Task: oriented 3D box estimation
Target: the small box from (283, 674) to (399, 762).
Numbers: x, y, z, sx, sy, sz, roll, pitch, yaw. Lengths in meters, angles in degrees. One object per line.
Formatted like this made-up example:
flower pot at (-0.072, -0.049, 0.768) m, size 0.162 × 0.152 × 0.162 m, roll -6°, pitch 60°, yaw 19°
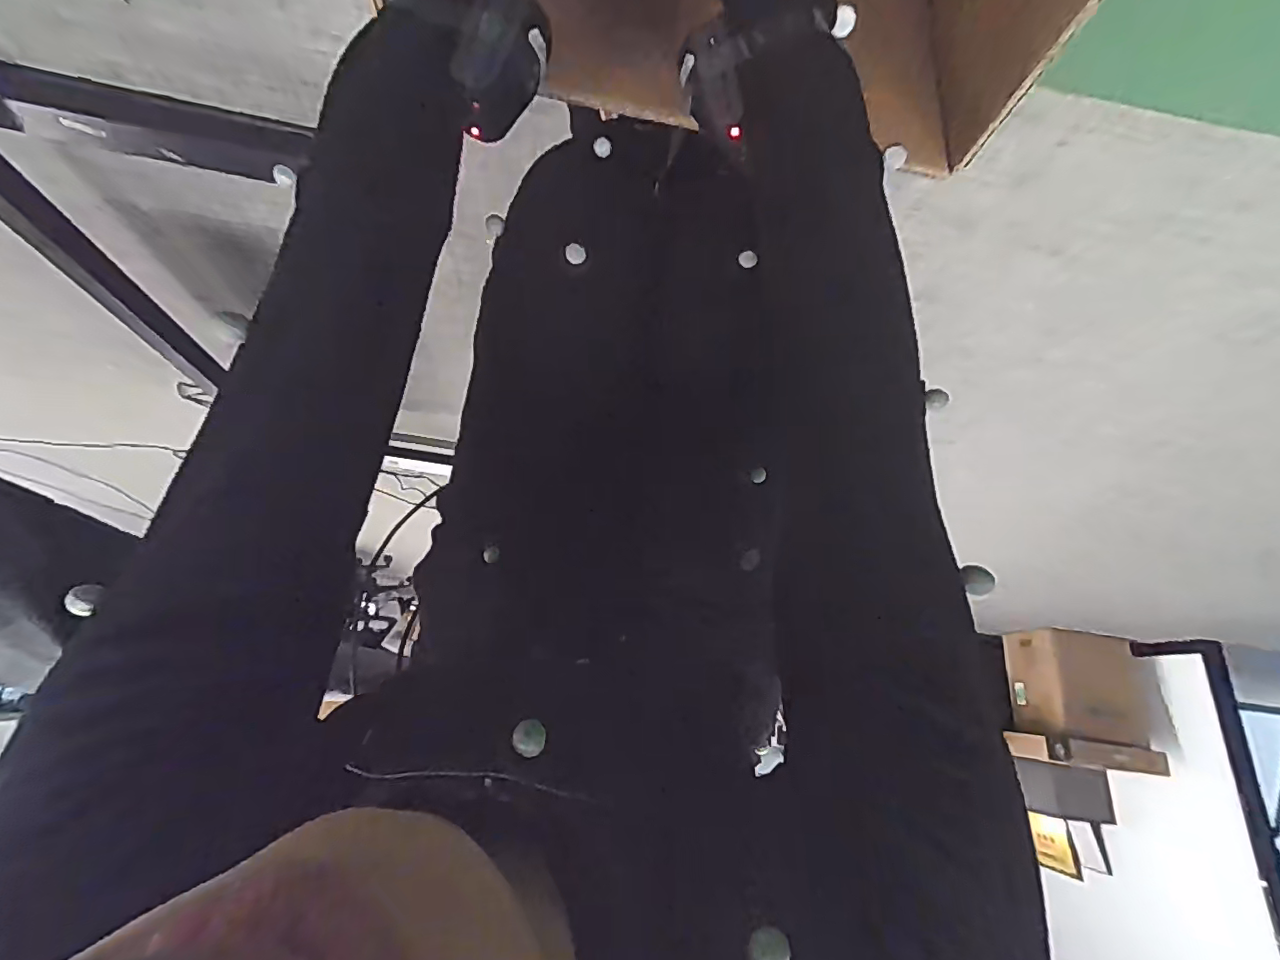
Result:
small box at (-0.700, 0.562, 1.288) m, size 0.168 × 0.176 × 0.179 m, roll 10°, pitch 158°, yaw -3°
